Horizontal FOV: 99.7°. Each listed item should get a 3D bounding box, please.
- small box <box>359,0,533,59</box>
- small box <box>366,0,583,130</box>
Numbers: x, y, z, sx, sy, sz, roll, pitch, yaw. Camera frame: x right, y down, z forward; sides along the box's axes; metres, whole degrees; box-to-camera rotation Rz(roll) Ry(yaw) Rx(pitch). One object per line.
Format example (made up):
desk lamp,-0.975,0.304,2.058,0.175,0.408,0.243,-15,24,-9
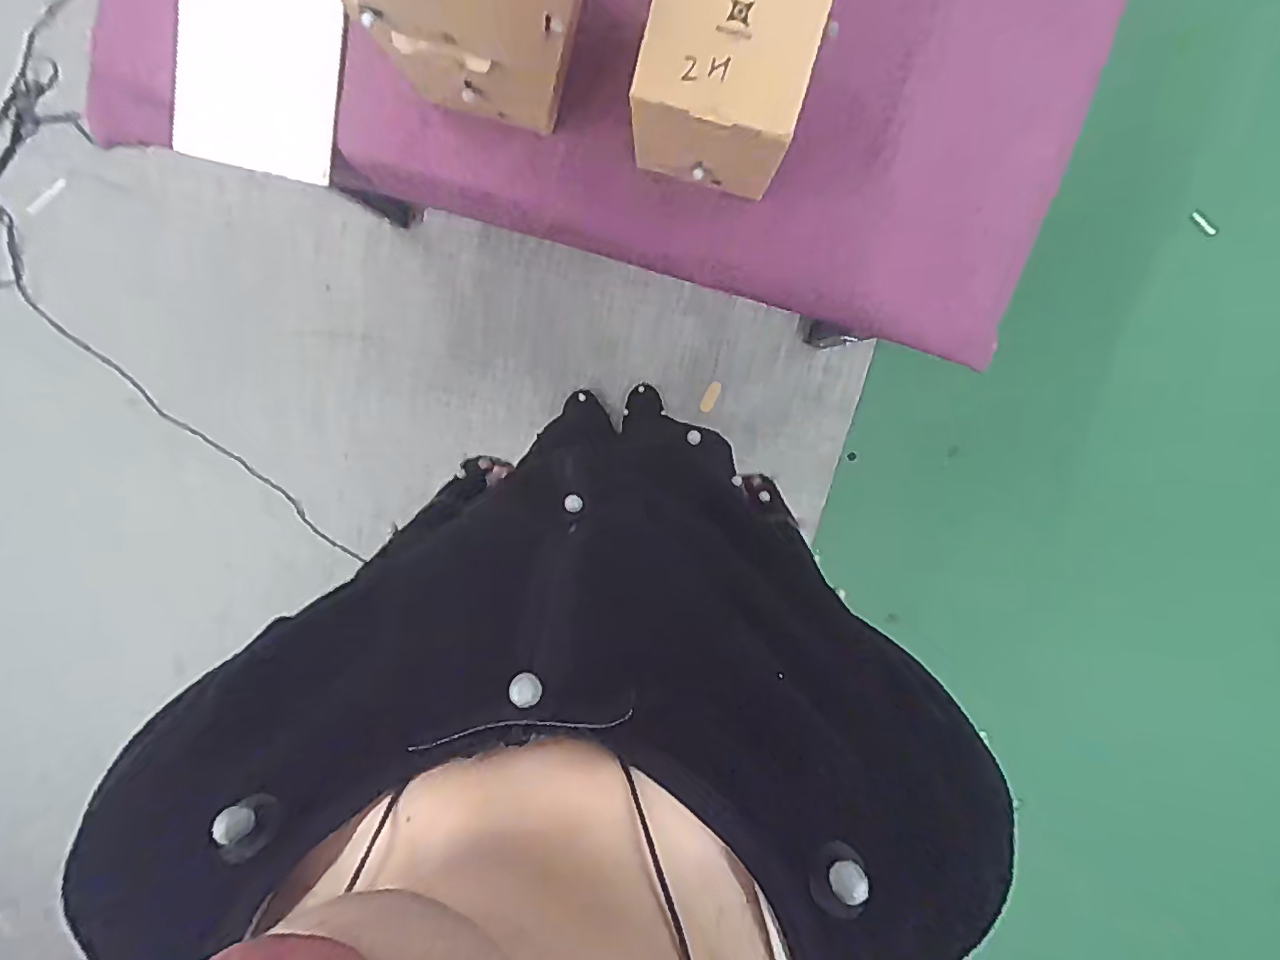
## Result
small box,-0.174,-0.493,0.433,0.168,0.176,0.179,16,99,-1
small box,-0.167,-0.527,0.595,0.168,0.176,0.179,16,101,-2
